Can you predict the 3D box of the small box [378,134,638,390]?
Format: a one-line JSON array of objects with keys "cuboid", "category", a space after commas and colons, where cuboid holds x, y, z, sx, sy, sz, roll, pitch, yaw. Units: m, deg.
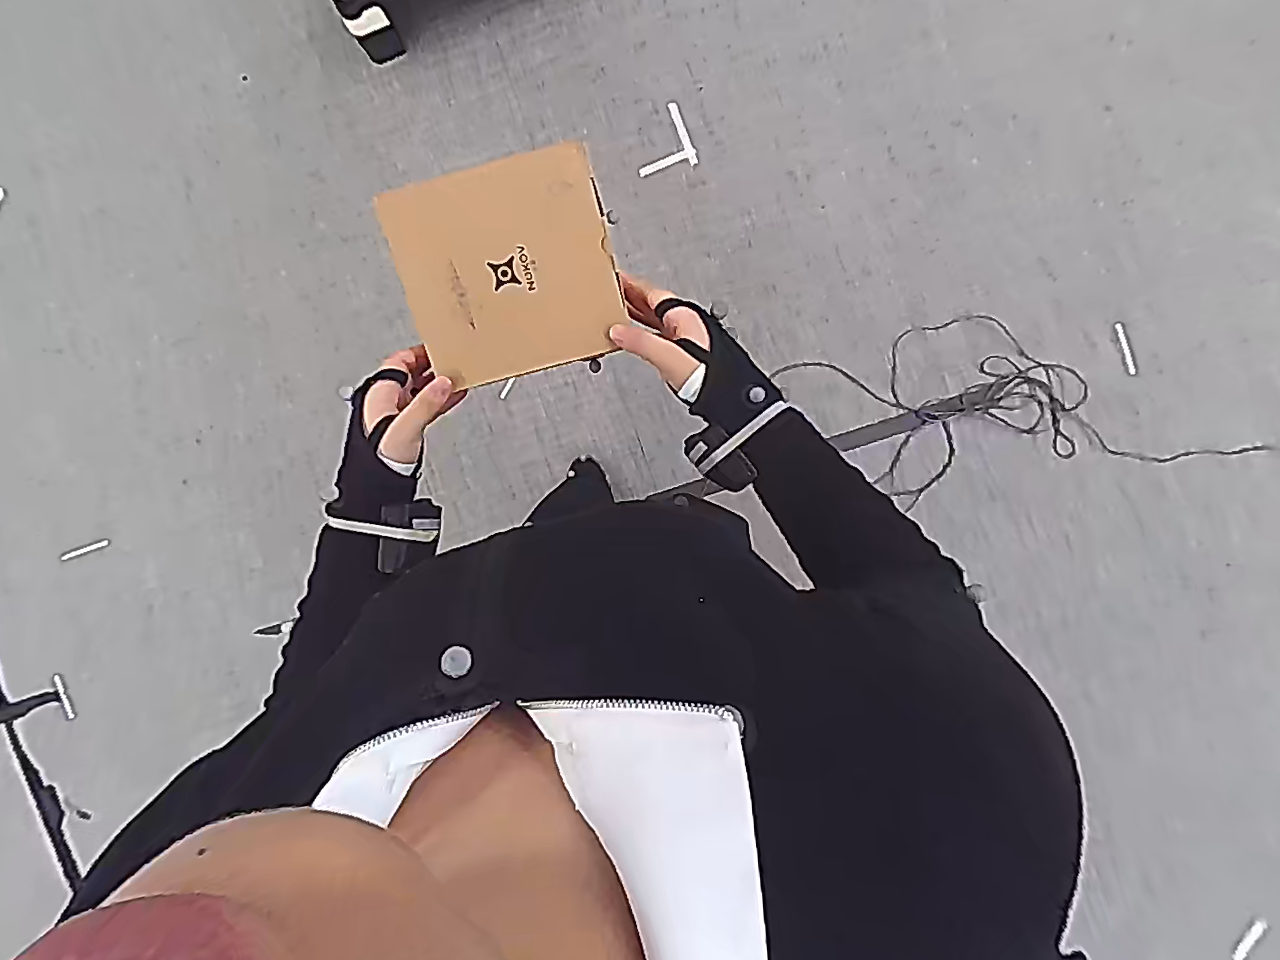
[{"cuboid": [-0.107, -0.192, 0.519, 0.179, 0.176, 0.168, -15, 103, 3], "category": "small box"}]
